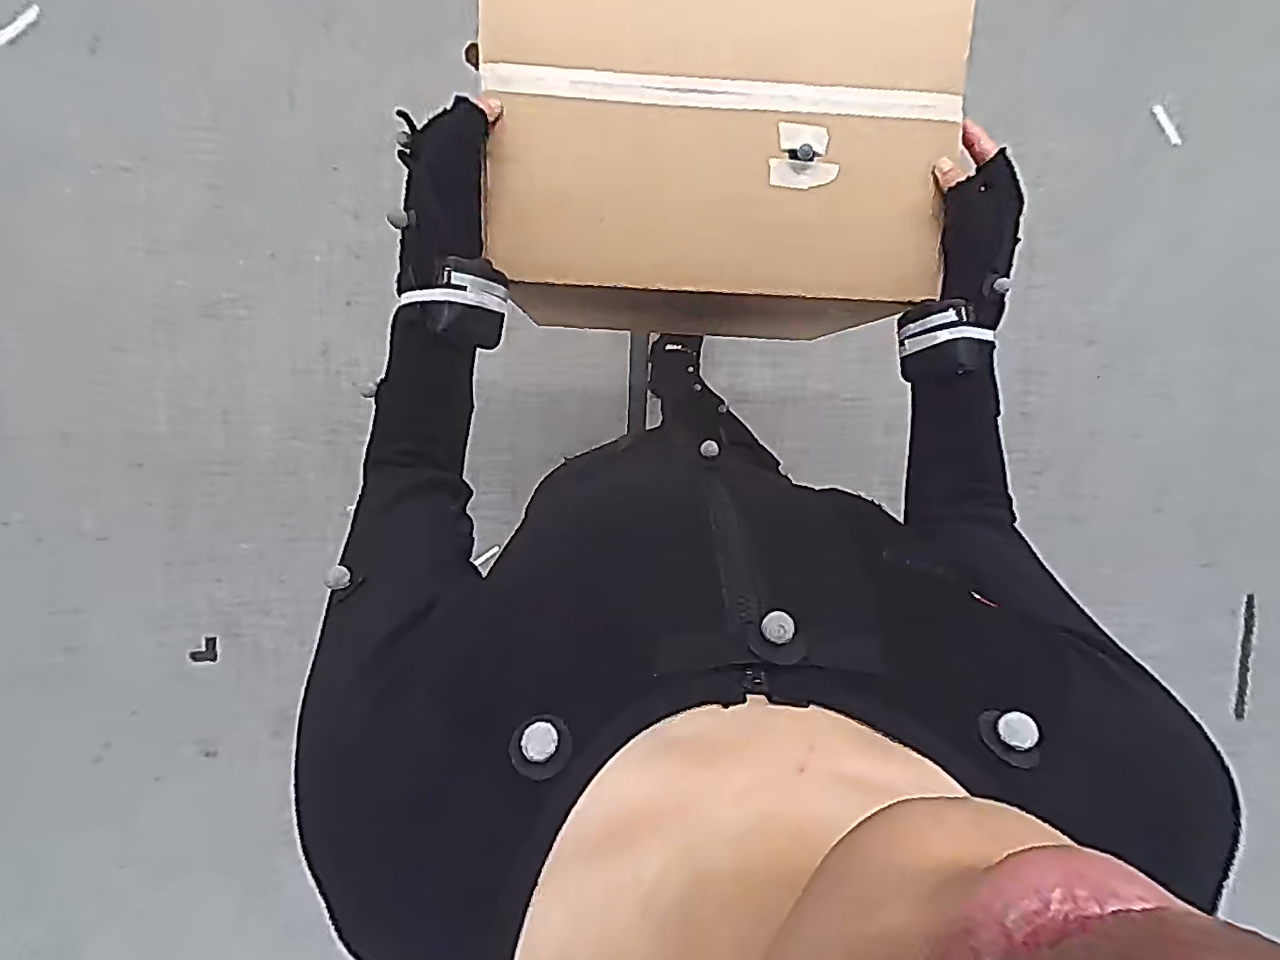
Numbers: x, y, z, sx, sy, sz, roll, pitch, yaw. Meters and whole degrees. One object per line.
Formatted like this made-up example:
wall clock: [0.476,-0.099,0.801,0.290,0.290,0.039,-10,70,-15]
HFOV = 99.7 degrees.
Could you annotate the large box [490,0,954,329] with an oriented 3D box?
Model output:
large box: [0.062,-0.353,0.617,0.408,0.320,0.320,2,99,-4]
